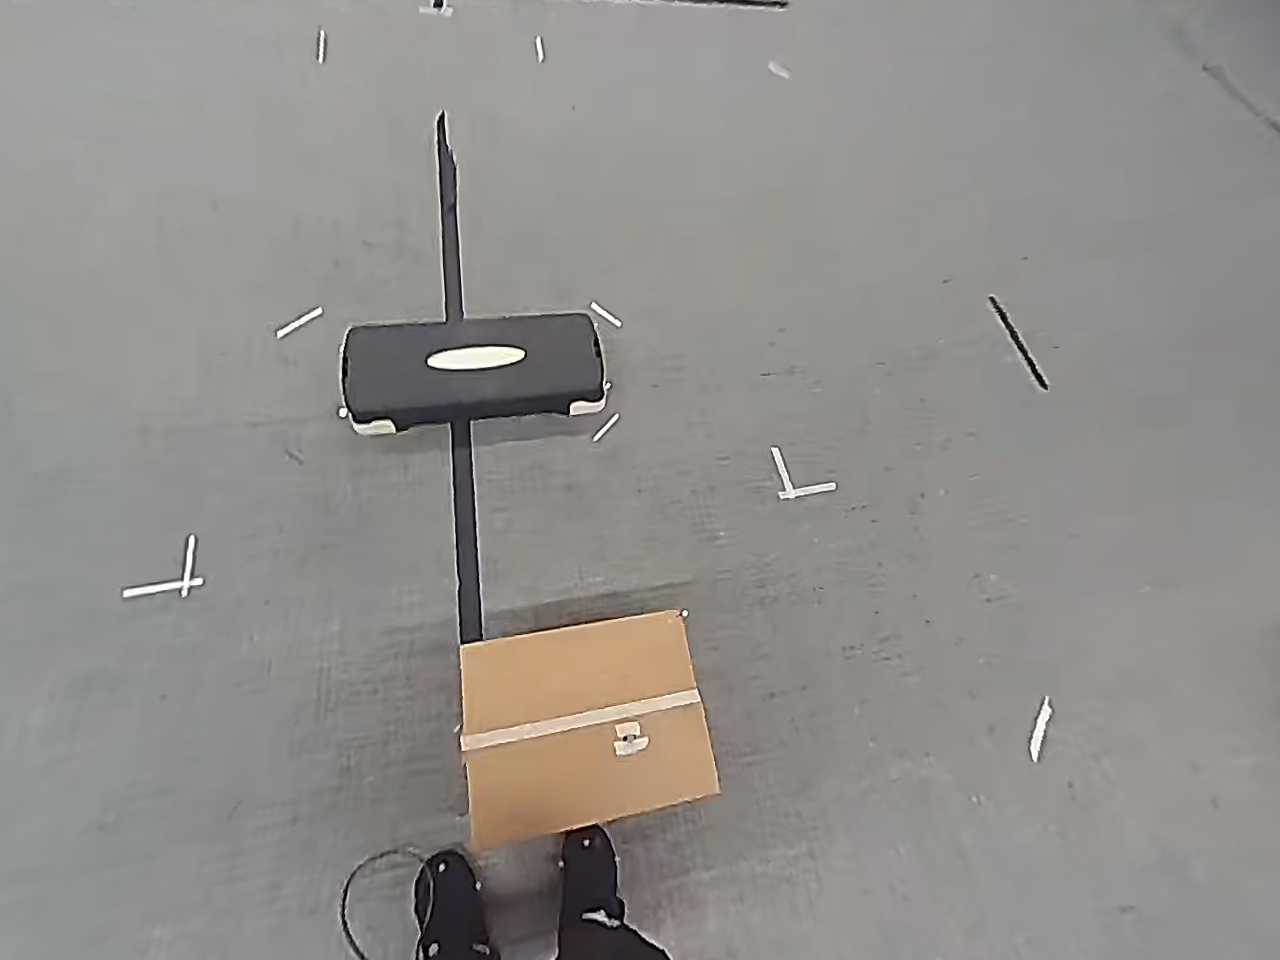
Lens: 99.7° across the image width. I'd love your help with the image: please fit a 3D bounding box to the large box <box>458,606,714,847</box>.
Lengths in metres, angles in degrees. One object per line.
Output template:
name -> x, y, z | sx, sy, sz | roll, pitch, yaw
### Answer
large box -> -0.117, 0.460, 1.049 | 0.408, 0.320, 0.320 | -6, 67, -12
